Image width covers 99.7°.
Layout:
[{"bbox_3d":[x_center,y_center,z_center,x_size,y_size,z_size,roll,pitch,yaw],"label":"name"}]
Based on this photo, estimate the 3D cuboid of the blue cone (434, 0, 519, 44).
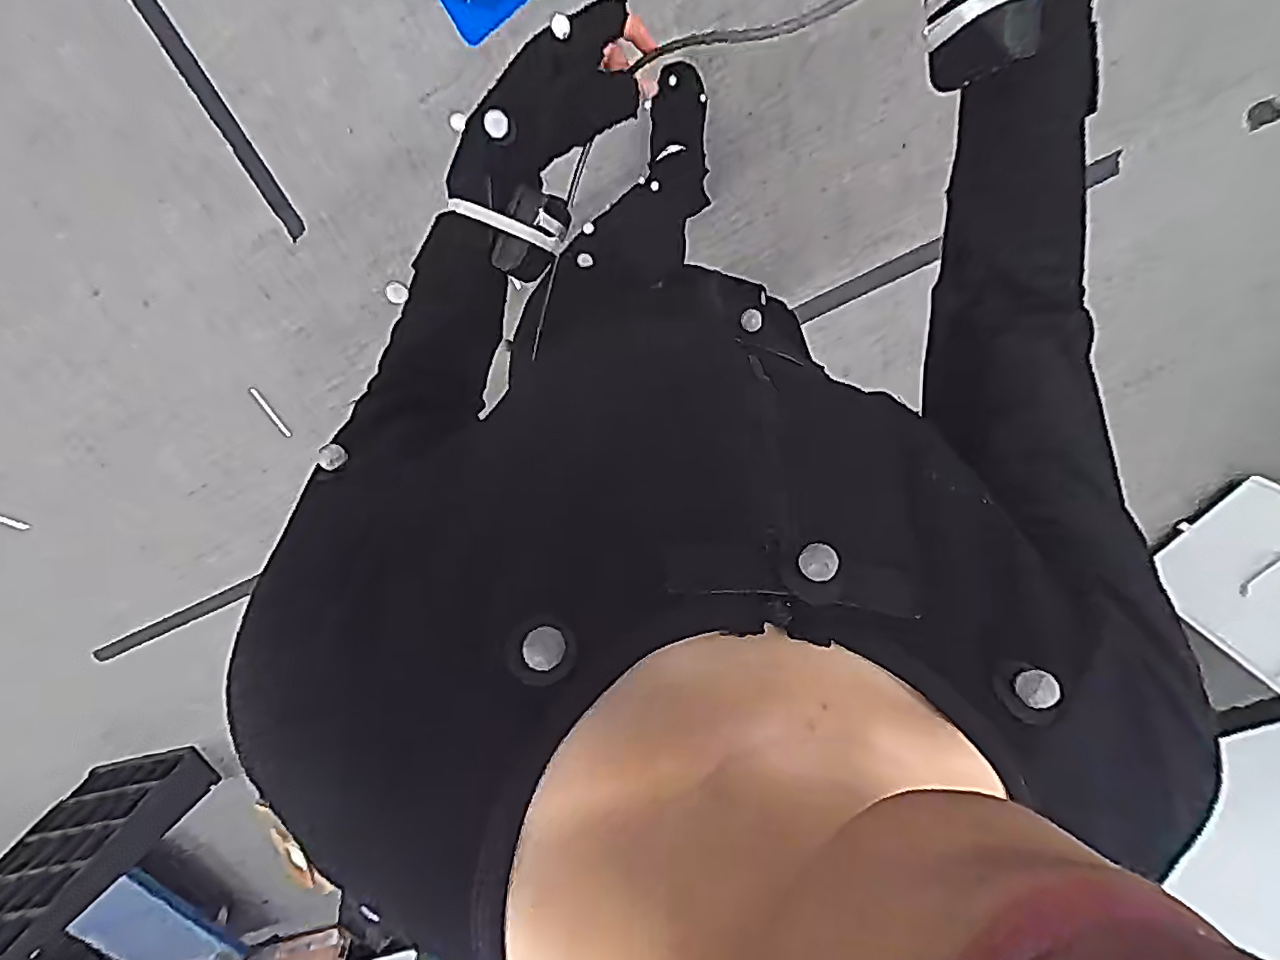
[{"bbox_3d":[-0.342,-0.936,0.921,0.192,0.380,0.193,-28,112,14],"label":"blue cone"}]
